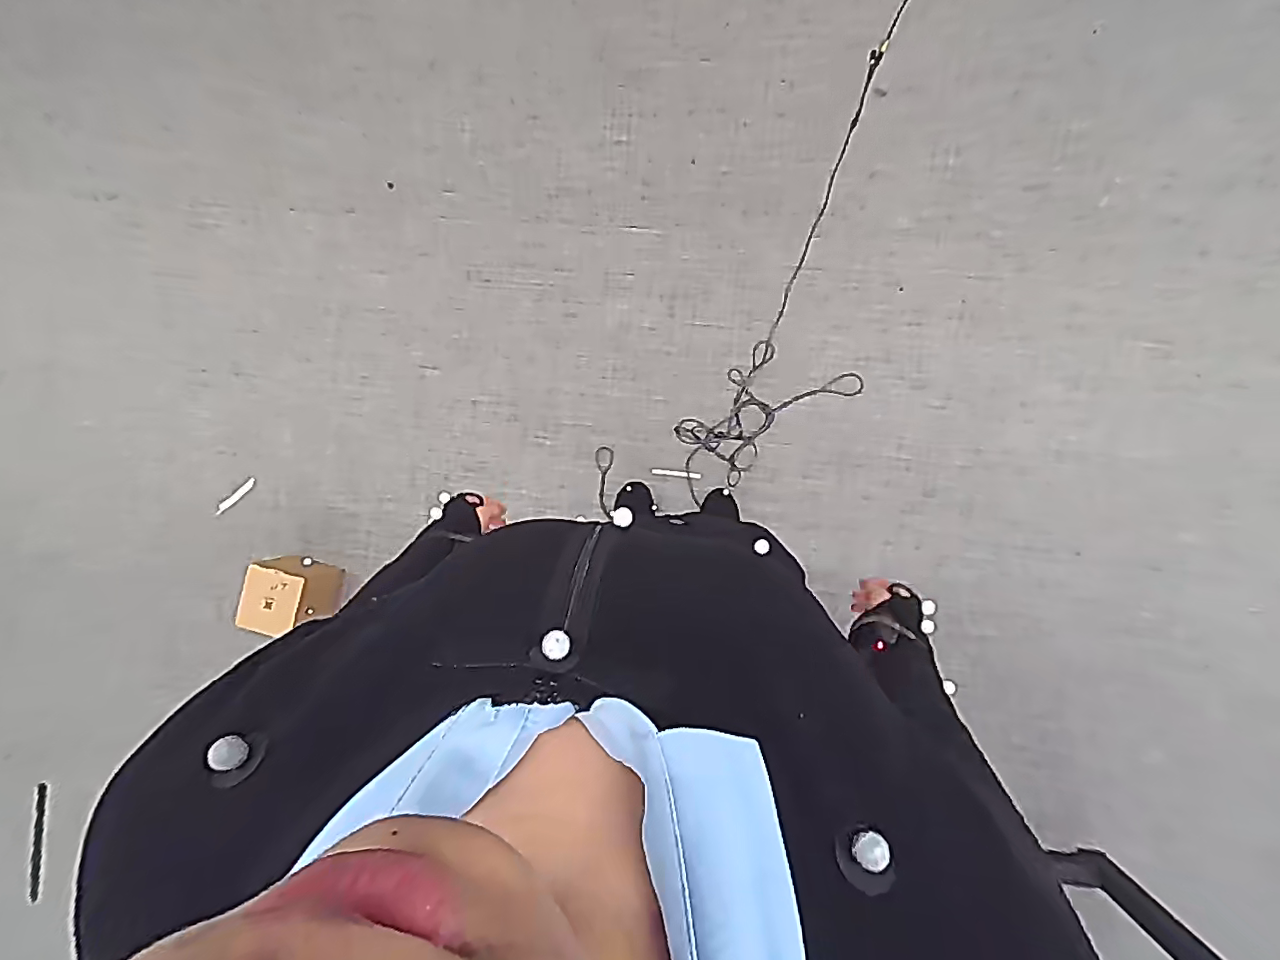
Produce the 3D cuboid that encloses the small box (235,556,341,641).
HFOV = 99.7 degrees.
[{"bbox_3d":[-0.977,0.324,1.516,0.168,0.176,0.179,15,90,4],"label":"small box"}]
